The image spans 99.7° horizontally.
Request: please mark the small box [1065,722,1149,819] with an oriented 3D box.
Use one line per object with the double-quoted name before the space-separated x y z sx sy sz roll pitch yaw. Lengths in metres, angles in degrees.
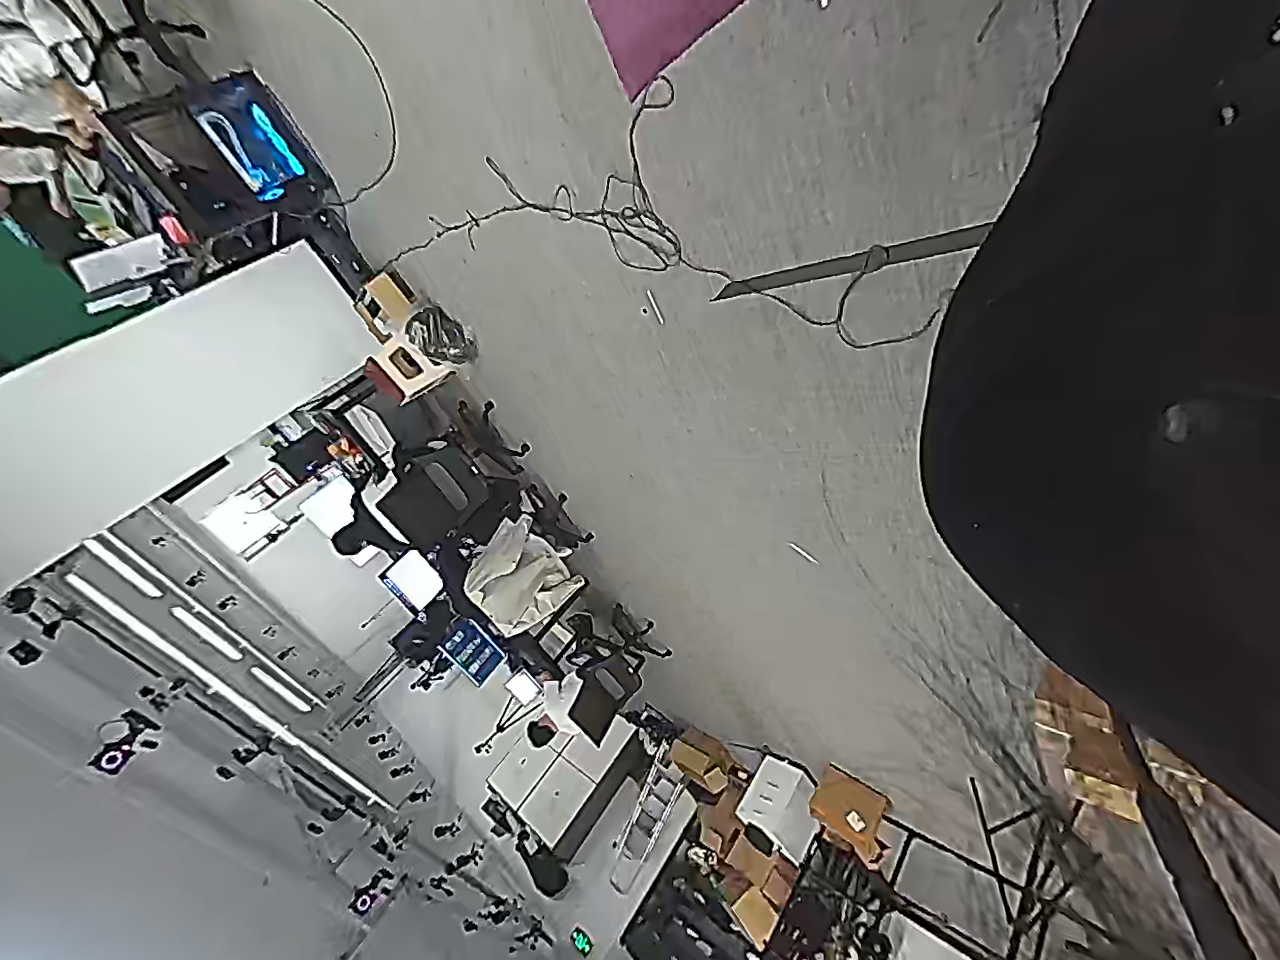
"small box" 1.429 0.878 1.651 0.179 0.176 0.168 6 133 49
